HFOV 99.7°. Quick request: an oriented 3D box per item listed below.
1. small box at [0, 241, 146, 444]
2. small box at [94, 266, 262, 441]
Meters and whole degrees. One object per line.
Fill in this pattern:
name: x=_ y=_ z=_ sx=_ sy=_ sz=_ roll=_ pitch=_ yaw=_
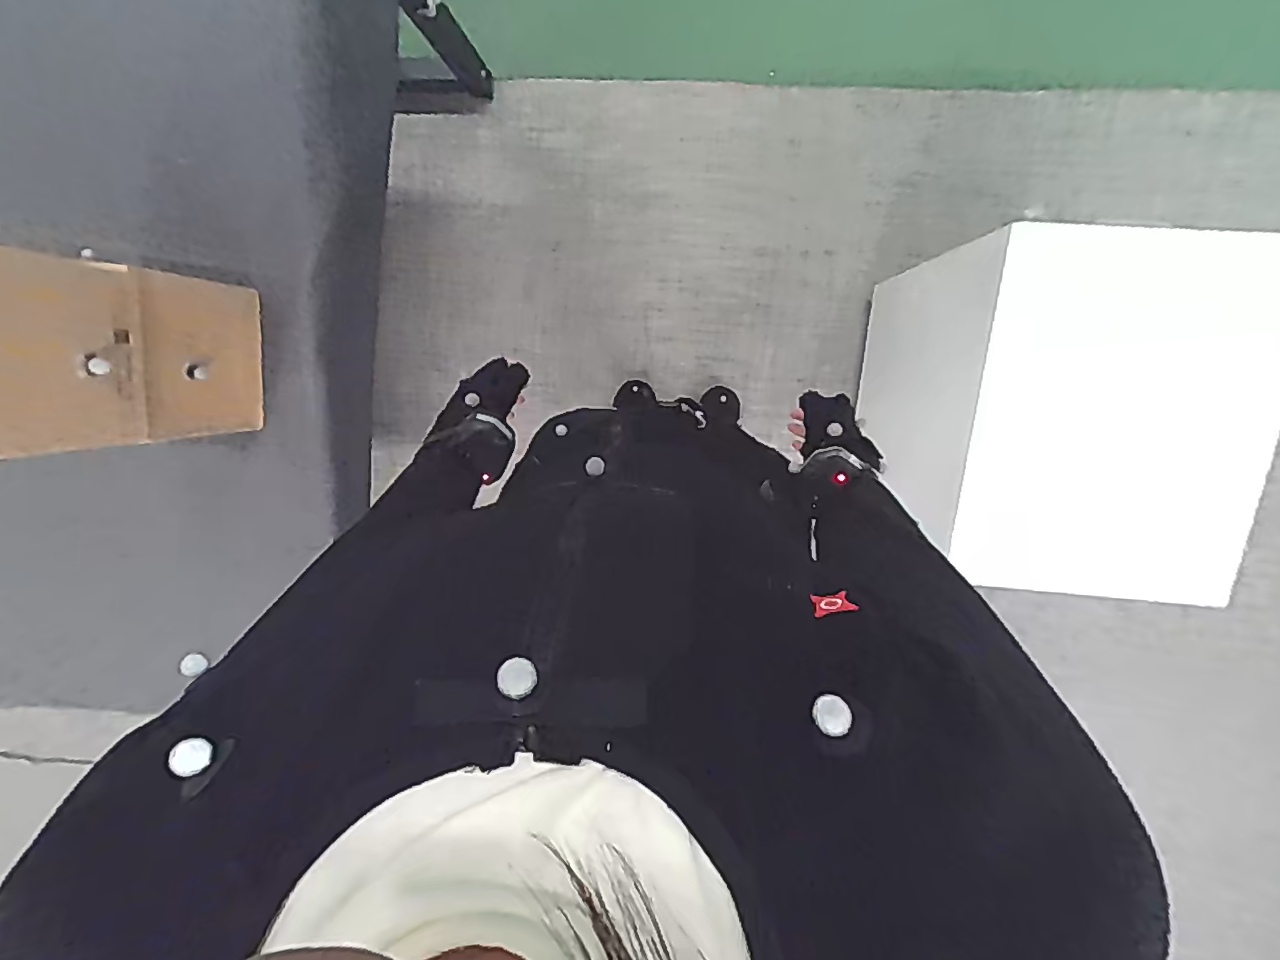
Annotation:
small box: x=-0.590 y=-0.119 z=0.466 sx=0.179 sy=0.176 sz=0.168 roll=4 pitch=102 yaw=7
small box: x=-0.577 y=-0.151 z=0.627 sx=0.168 sy=0.176 sz=0.179 roll=7 pitch=103 yaw=4
